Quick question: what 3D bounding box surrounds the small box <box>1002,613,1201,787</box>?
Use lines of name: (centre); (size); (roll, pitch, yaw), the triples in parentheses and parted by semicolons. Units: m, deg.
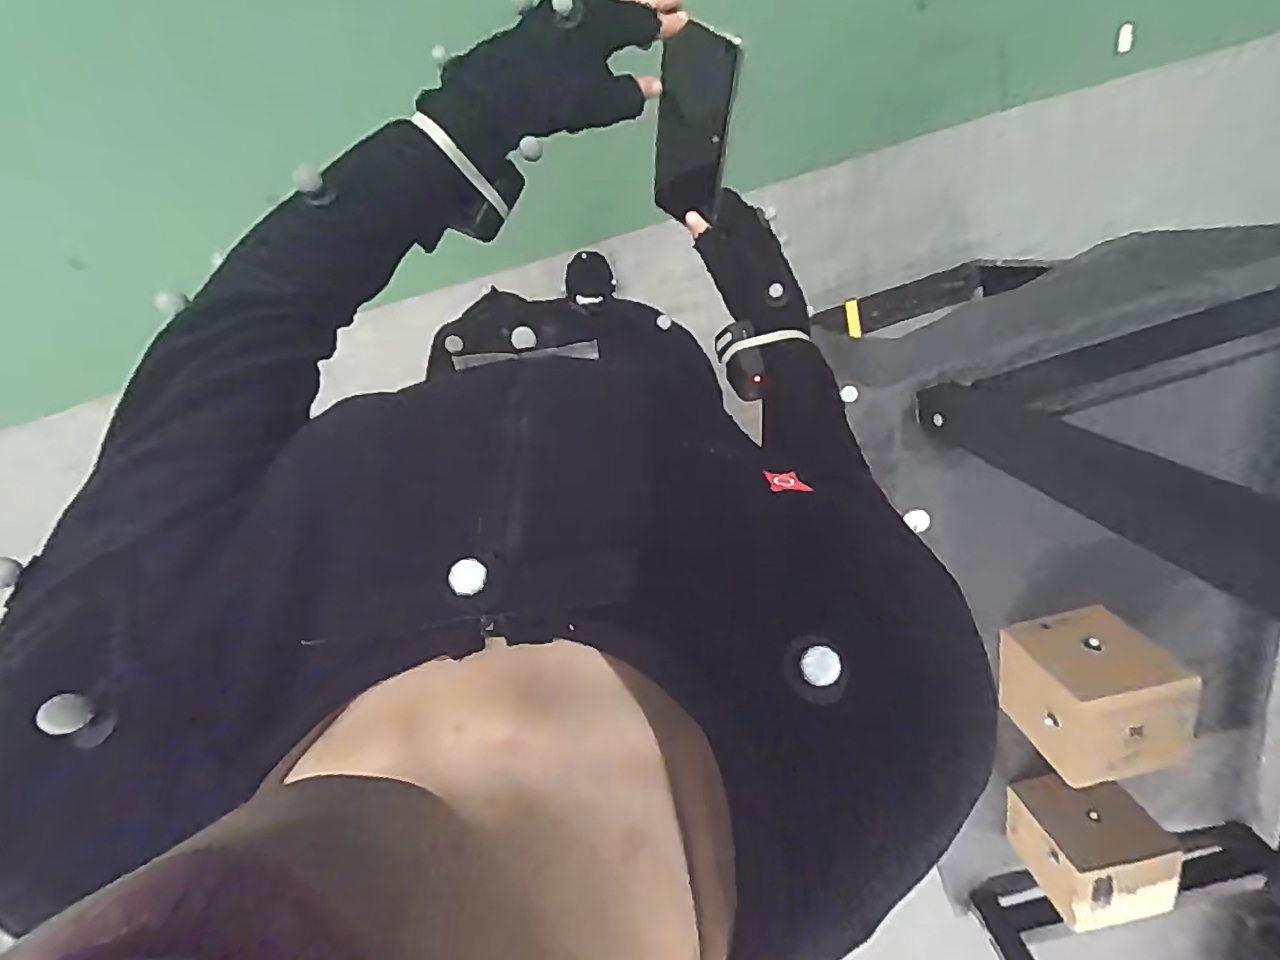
small box: (0.694, 0.326, 0.836); (0.168, 0.176, 0.179); (-14, 112, 3)
